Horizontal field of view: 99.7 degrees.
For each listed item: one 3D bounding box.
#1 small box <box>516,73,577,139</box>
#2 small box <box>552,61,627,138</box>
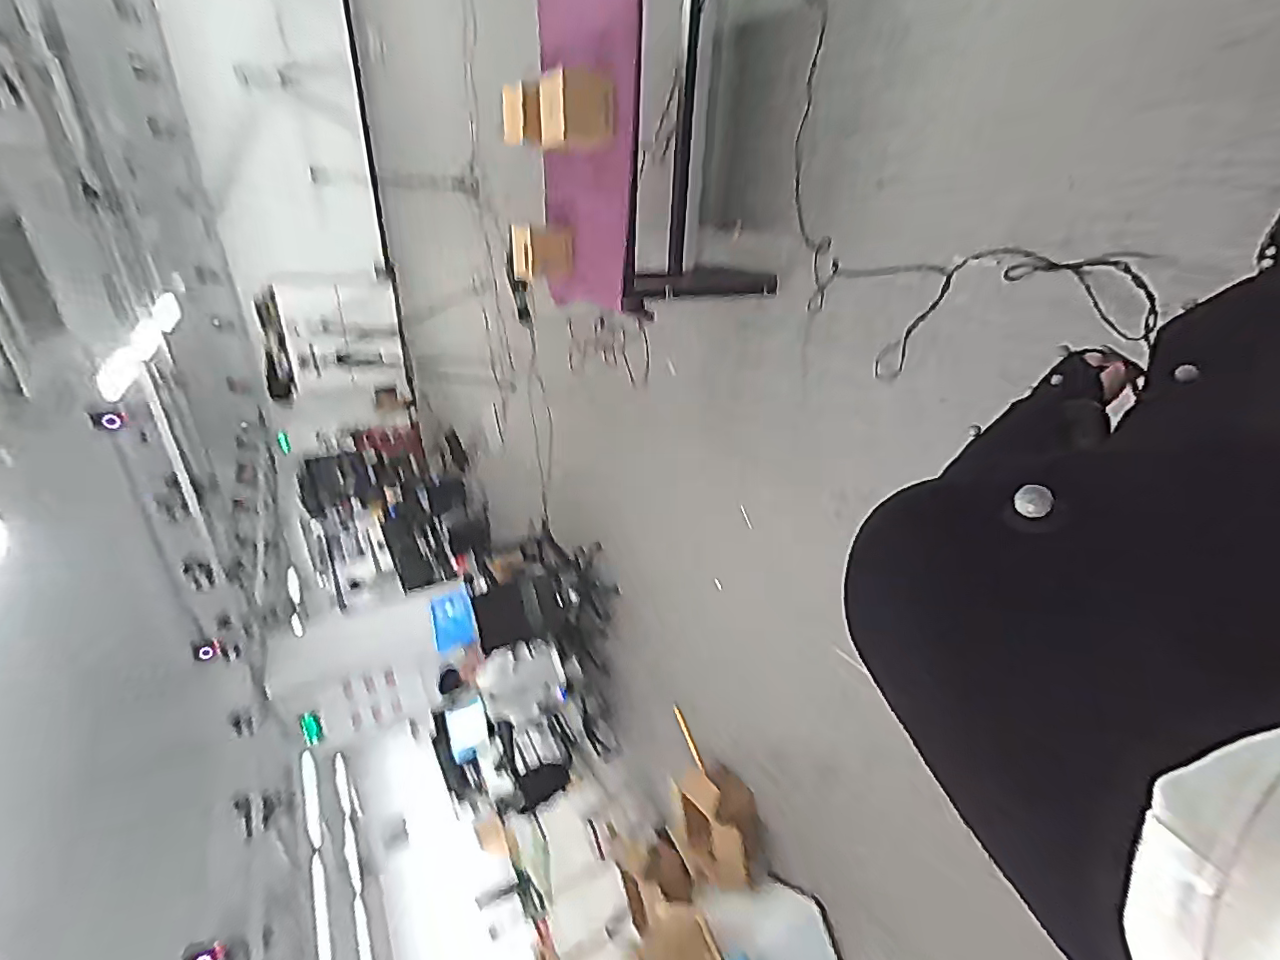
[{"bbox_3d":[-0.318,-1.288,1.871,0.179,0.176,0.168,39,134,46],"label":"small box"},{"bbox_3d":[-0.153,-1.140,1.632,0.179,0.176,0.168,40,136,50],"label":"small box"}]
